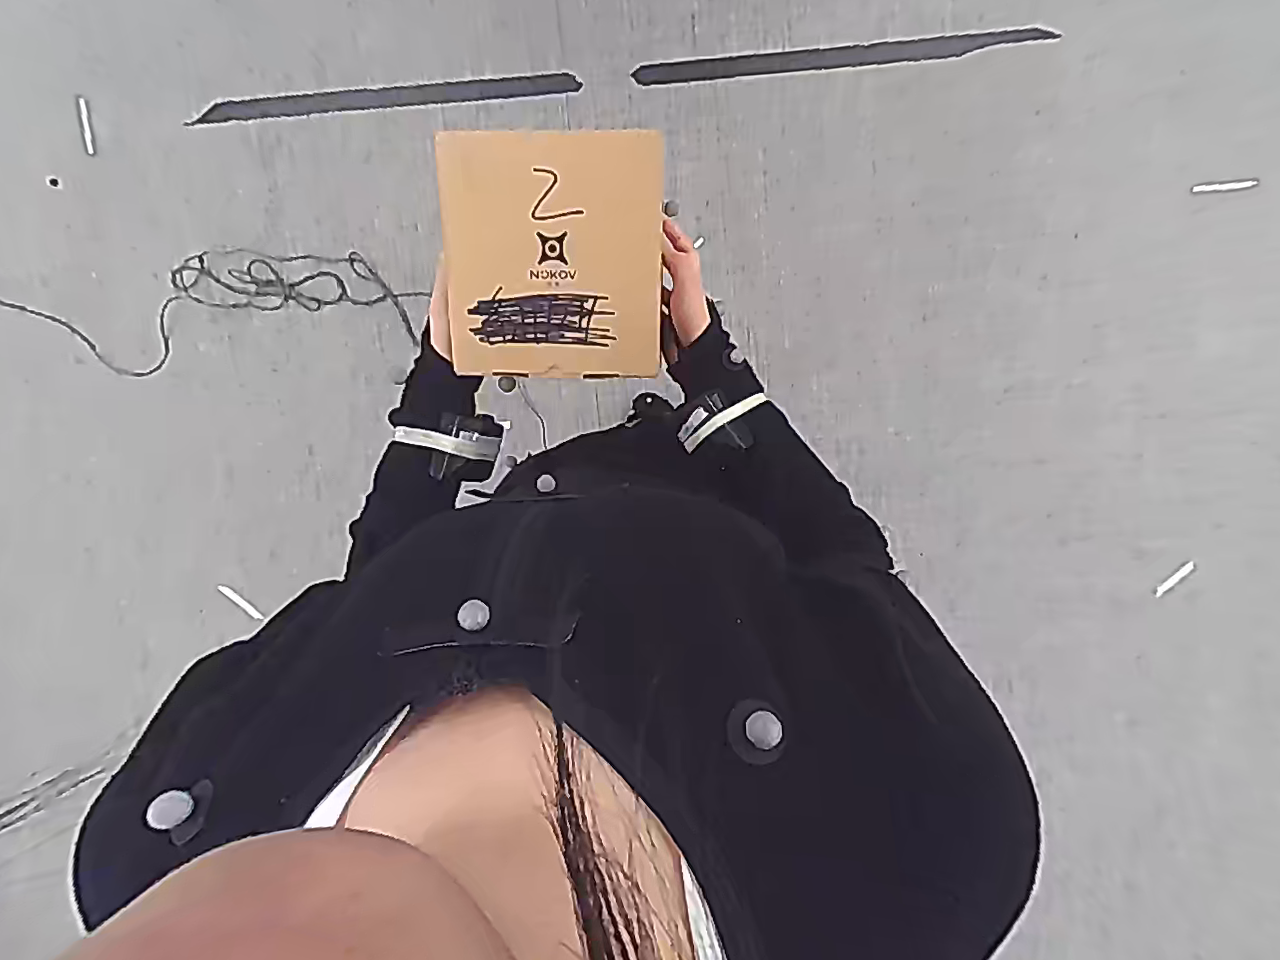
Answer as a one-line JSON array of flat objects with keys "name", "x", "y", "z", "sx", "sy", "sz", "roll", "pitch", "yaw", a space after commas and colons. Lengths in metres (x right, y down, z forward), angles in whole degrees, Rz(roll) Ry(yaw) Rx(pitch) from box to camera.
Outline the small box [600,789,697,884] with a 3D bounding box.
[{"name": "small box", "x": 0.012, "y": 0.708, "z": 0.995, "sx": 0.168, "sy": 0.176, "sz": 0.179, "roll": 2, "pitch": 94, "yaw": -1}]

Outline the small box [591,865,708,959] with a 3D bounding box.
[{"name": "small box", "x": 0.010, "y": 0.733, "z": 0.832, "sx": 0.168, "sy": 0.176, "sz": 0.179, "roll": 0, "pitch": 94, "yaw": 0}]
